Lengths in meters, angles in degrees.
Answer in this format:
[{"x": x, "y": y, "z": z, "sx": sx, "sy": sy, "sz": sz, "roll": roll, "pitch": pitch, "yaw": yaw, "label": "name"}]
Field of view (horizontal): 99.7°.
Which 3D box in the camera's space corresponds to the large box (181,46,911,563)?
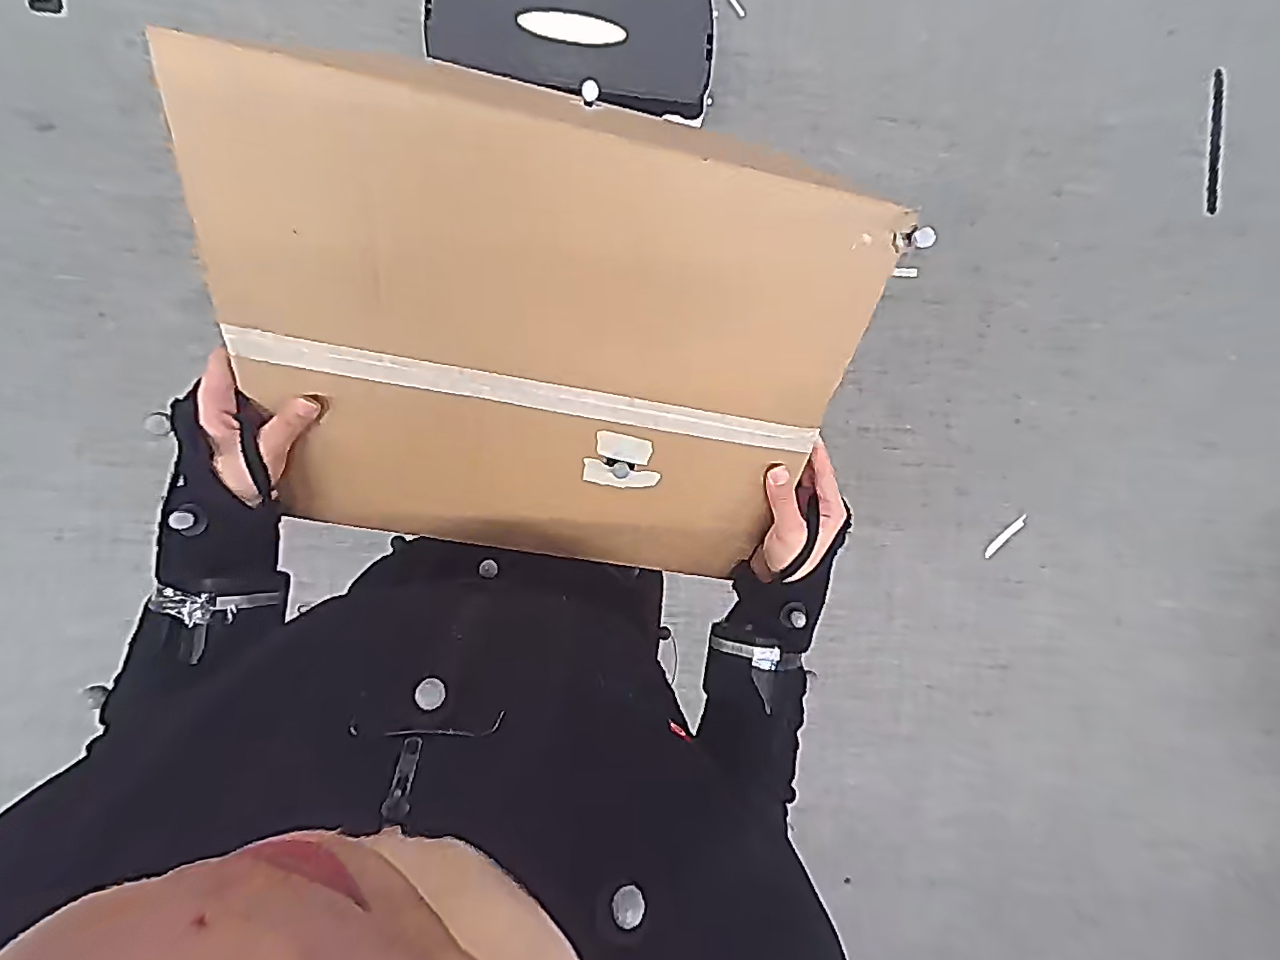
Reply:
[{"x": -0.066, "y": -0.158, "z": 0.496, "sx": 0.408, "sy": 0.320, "sz": 0.320, "roll": 8, "pitch": 128, "yaw": -8, "label": "large box"}]
